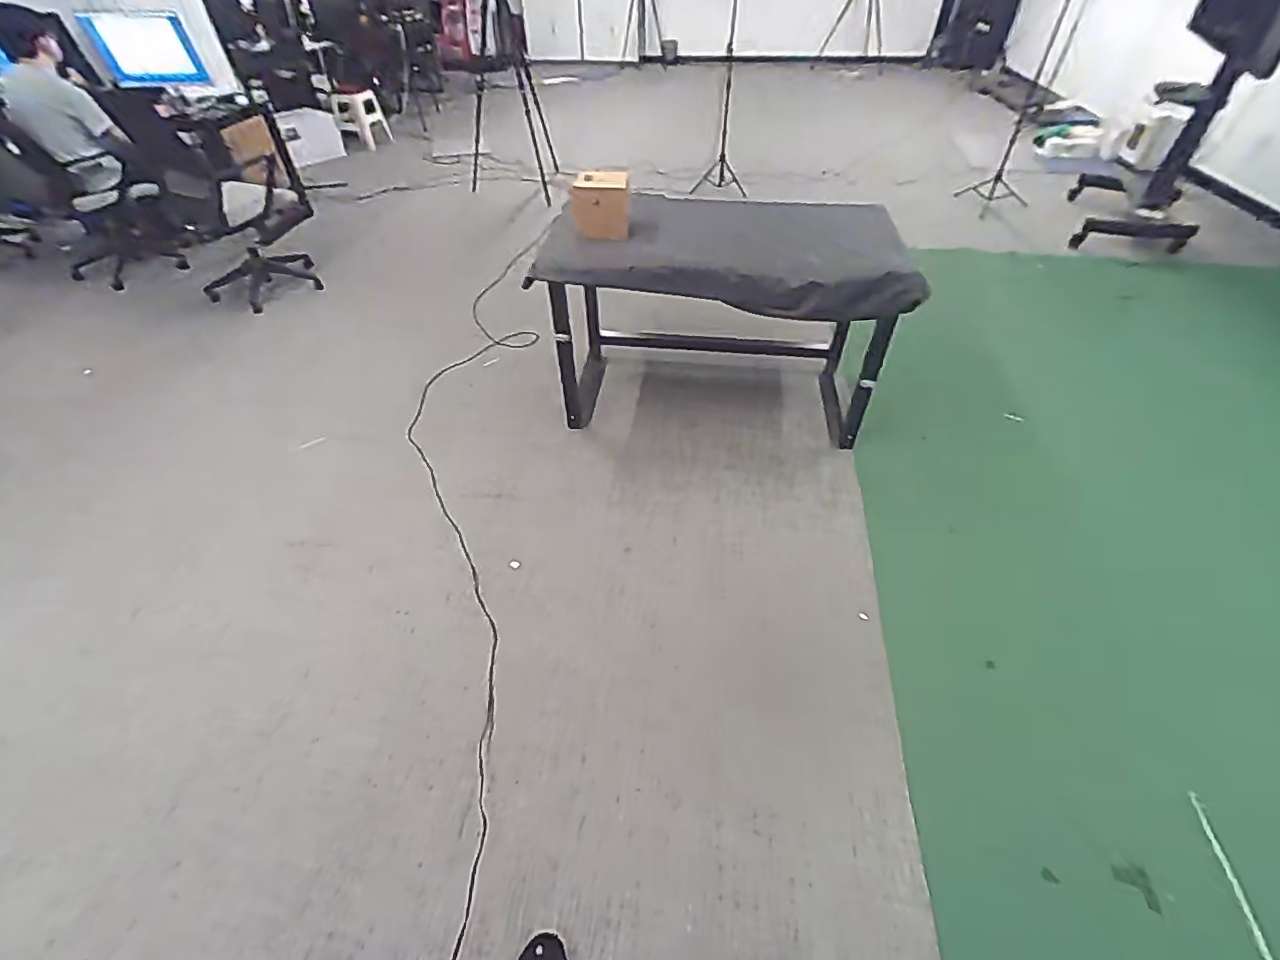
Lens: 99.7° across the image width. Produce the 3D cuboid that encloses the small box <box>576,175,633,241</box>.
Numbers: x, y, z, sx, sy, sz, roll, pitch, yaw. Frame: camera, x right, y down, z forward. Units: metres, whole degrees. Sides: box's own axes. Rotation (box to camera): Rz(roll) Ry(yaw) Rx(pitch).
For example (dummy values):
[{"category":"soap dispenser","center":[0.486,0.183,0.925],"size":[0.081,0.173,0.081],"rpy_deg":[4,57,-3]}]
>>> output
[{"category":"small box","center":[-0.119,-0.945,1.881],"size":[0.179,0.176,0.168],"rpy_deg":[4,45,3]}]
